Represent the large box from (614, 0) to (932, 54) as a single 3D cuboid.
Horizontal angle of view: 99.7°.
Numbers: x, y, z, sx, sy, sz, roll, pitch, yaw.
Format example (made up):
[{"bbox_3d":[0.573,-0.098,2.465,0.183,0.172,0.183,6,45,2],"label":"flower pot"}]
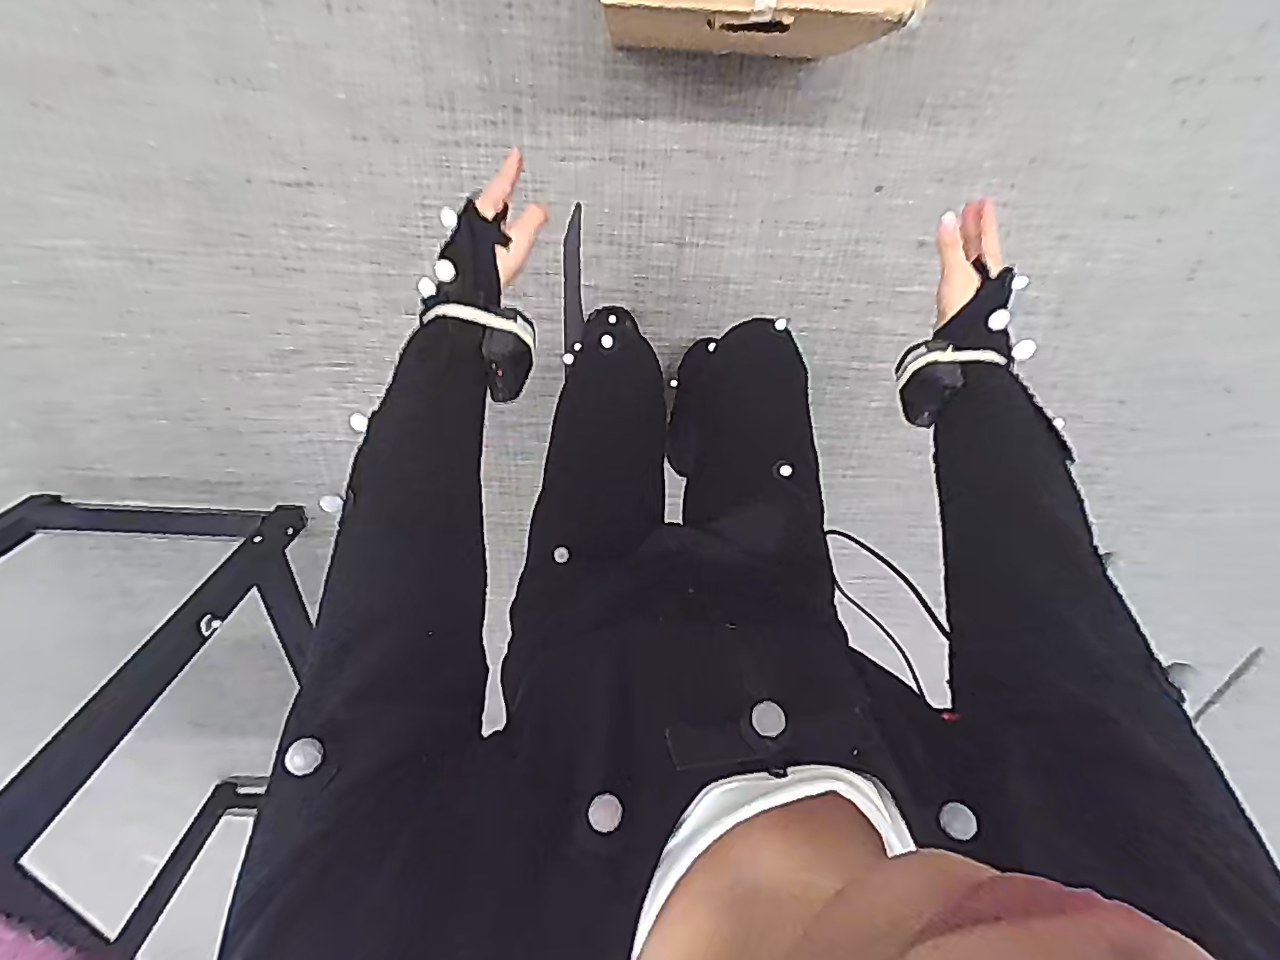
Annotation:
[{"bbox_3d":[0.127,-0.698,0.537,0.320,0.320,0.408,1,123,-1],"label":"large box"}]
